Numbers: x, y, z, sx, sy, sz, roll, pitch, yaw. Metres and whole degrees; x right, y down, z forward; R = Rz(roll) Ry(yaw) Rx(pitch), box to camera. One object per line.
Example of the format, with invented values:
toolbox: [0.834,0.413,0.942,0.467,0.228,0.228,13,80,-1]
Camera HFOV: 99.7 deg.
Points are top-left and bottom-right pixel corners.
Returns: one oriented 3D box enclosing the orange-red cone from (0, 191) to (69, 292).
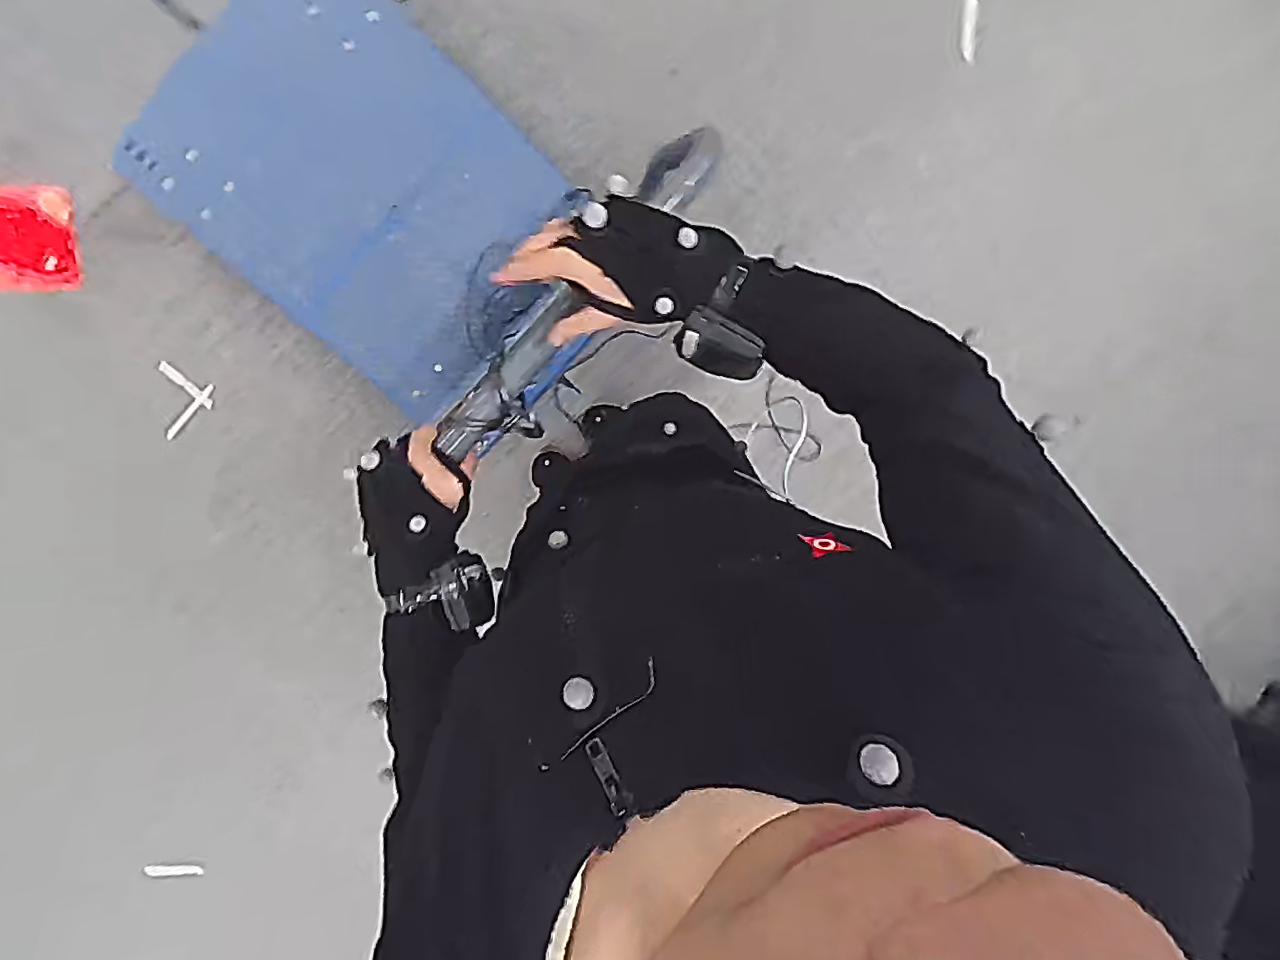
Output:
orange-red cone: [-1.296,-0.479,0.965,0.198,0.360,0.199,-2,97,-7]
